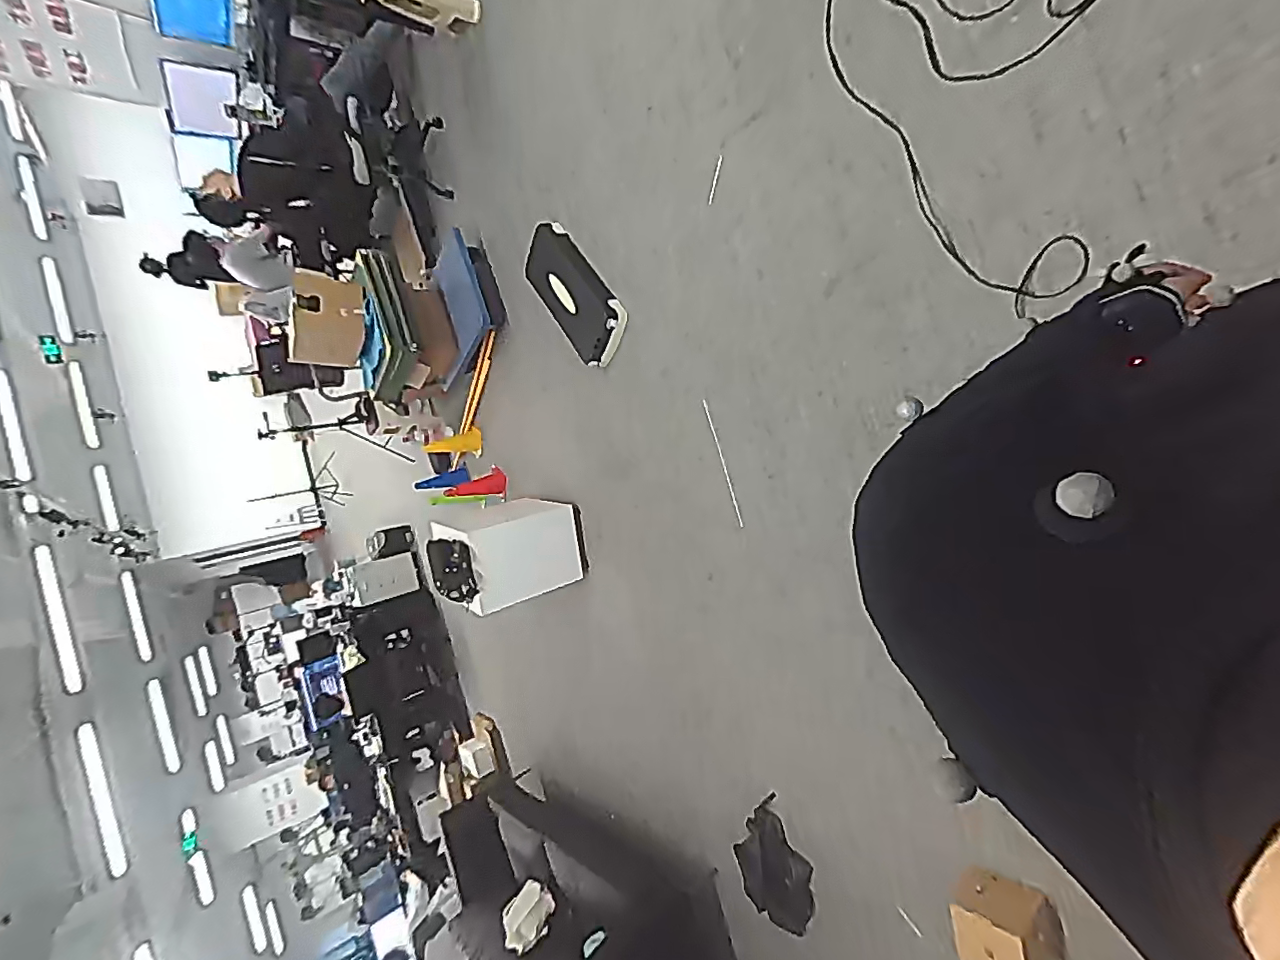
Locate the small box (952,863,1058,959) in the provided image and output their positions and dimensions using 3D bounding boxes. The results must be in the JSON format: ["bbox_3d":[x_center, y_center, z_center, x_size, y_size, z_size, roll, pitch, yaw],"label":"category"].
[{"bbox_3d":[0.930,1.133,1.377,0.168,0.176,0.179,-7,97,55],"label":"small box"}]
